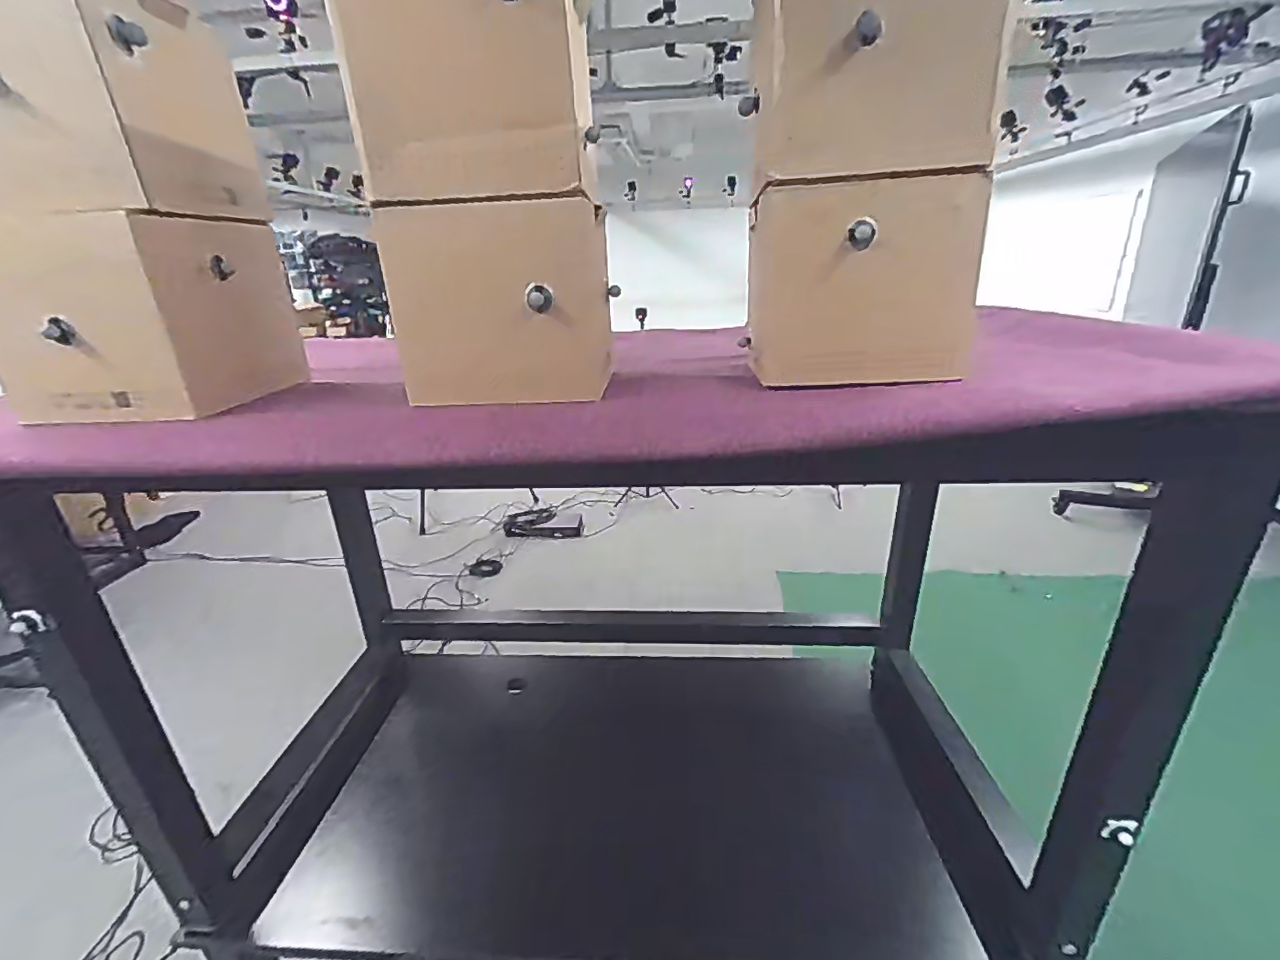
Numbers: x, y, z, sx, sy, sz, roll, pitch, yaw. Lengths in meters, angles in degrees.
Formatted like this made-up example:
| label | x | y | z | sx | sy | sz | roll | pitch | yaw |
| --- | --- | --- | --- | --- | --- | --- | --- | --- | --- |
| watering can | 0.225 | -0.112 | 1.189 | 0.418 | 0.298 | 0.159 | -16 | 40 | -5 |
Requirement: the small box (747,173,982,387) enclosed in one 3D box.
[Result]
| label | x | y | z | sx | sy | sz | roll | pitch | yaw |
| --- | --- | --- | --- | --- | --- | --- | --- | --- | --- |
| small box | 0.201 | -0.187 | 0.538 | 0.179 | 0.176 | 0.168 | 0 | 19 | 6 |

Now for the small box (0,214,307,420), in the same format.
| label | x | y | z | sx | sy | sz | roll | pitch | yaw |
| --- | --- | --- | --- | --- | --- | --- | --- | --- | --- |
| small box | -0.464 | -0.158 | 0.529 | 0.168 | 0.176 | 0.179 | 0 | 22 | 2 |

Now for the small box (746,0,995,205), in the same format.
| label | x | y | z | sx | sy | sz | roll | pitch | yaw |
| --- | --- | --- | --- | --- | --- | --- | --- | --- | --- |
| small box | 0.191 | -0.343 | 0.485 | 0.179 | 0.176 | 0.168 | -2 | 19 | 6 |

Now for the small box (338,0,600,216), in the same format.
| label | x | y | z | sx | sy | sz | roll | pitch | yaw |
| --- | --- | --- | --- | --- | --- | --- | --- | --- | --- |
| small box | -0.134 | -0.323 | 0.480 | 0.179 | 0.176 | 0.168 | -2 | 20 | 1 |

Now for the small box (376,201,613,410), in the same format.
| label | x | y | z | sx | sy | sz | roll | pitch | yaw |
| --- | --- | --- | --- | --- | --- | --- | --- | --- | --- |
| small box | -0.122 | -0.170 | 0.536 | 0.179 | 0.176 | 0.168 | -2 | 20 | 3 |
